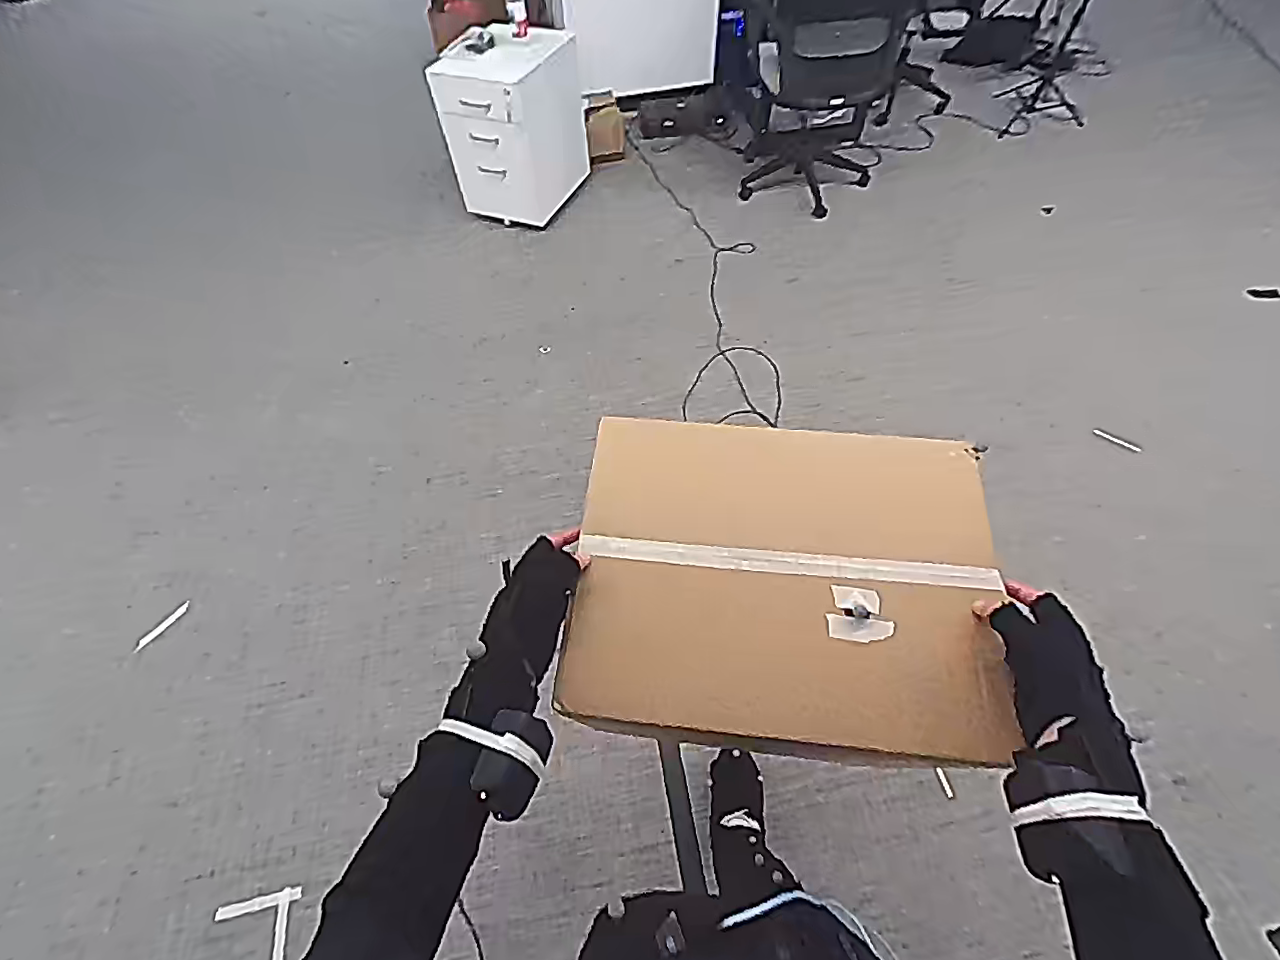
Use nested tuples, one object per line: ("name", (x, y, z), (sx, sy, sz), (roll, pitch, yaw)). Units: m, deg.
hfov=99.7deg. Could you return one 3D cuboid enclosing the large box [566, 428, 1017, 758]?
("large box", (0.145, 0.155, 0.675), (0.408, 0.320, 0.320), (4, 63, 5))
